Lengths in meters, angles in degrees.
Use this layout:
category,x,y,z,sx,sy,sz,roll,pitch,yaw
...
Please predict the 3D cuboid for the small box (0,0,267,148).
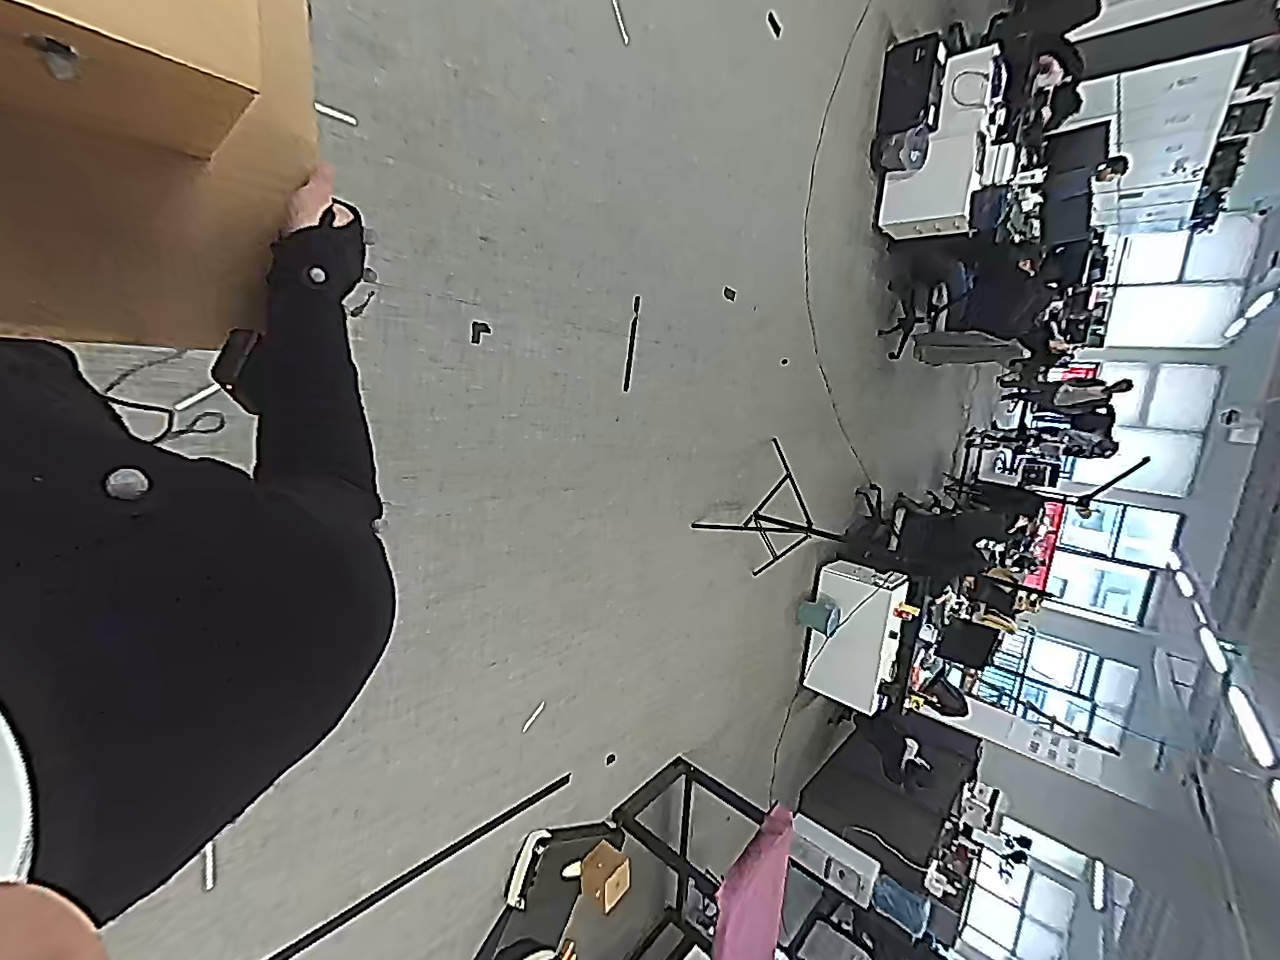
category,x,y,z,sx,sy,sz,roll,pitch,yaw
small box,-0.377,-0.350,0.359,0.179,0.176,0.168,-7,103,-47
